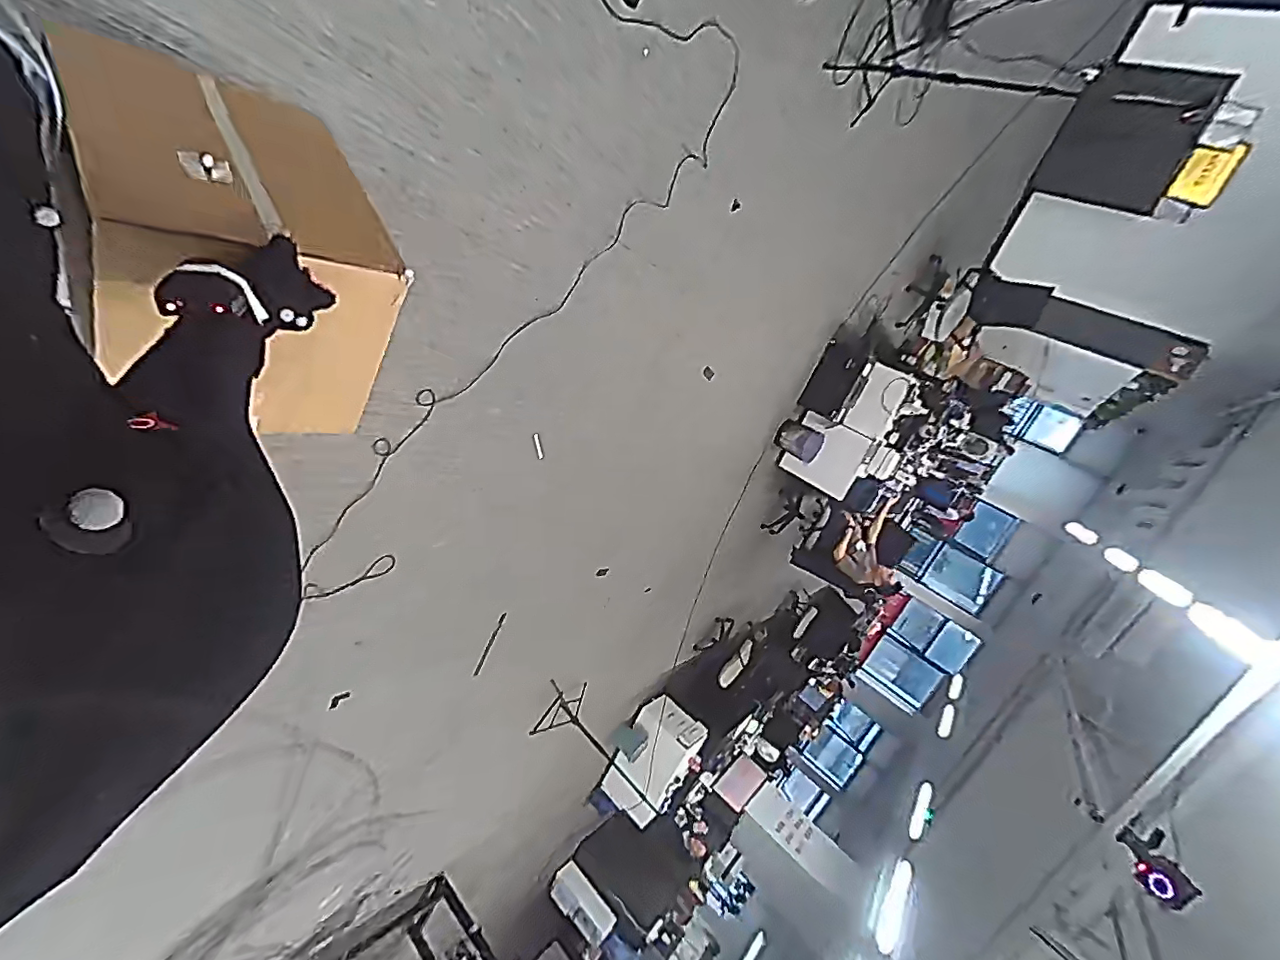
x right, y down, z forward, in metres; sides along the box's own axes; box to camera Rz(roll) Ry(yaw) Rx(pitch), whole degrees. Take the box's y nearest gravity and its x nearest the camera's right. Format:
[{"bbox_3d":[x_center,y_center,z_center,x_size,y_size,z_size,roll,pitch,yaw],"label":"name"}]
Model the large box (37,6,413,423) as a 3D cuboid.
[{"bbox_3d":[-0.592,-0.334,0.774,0.320,0.408,0.320,-10,151,-47],"label":"large box"}]
